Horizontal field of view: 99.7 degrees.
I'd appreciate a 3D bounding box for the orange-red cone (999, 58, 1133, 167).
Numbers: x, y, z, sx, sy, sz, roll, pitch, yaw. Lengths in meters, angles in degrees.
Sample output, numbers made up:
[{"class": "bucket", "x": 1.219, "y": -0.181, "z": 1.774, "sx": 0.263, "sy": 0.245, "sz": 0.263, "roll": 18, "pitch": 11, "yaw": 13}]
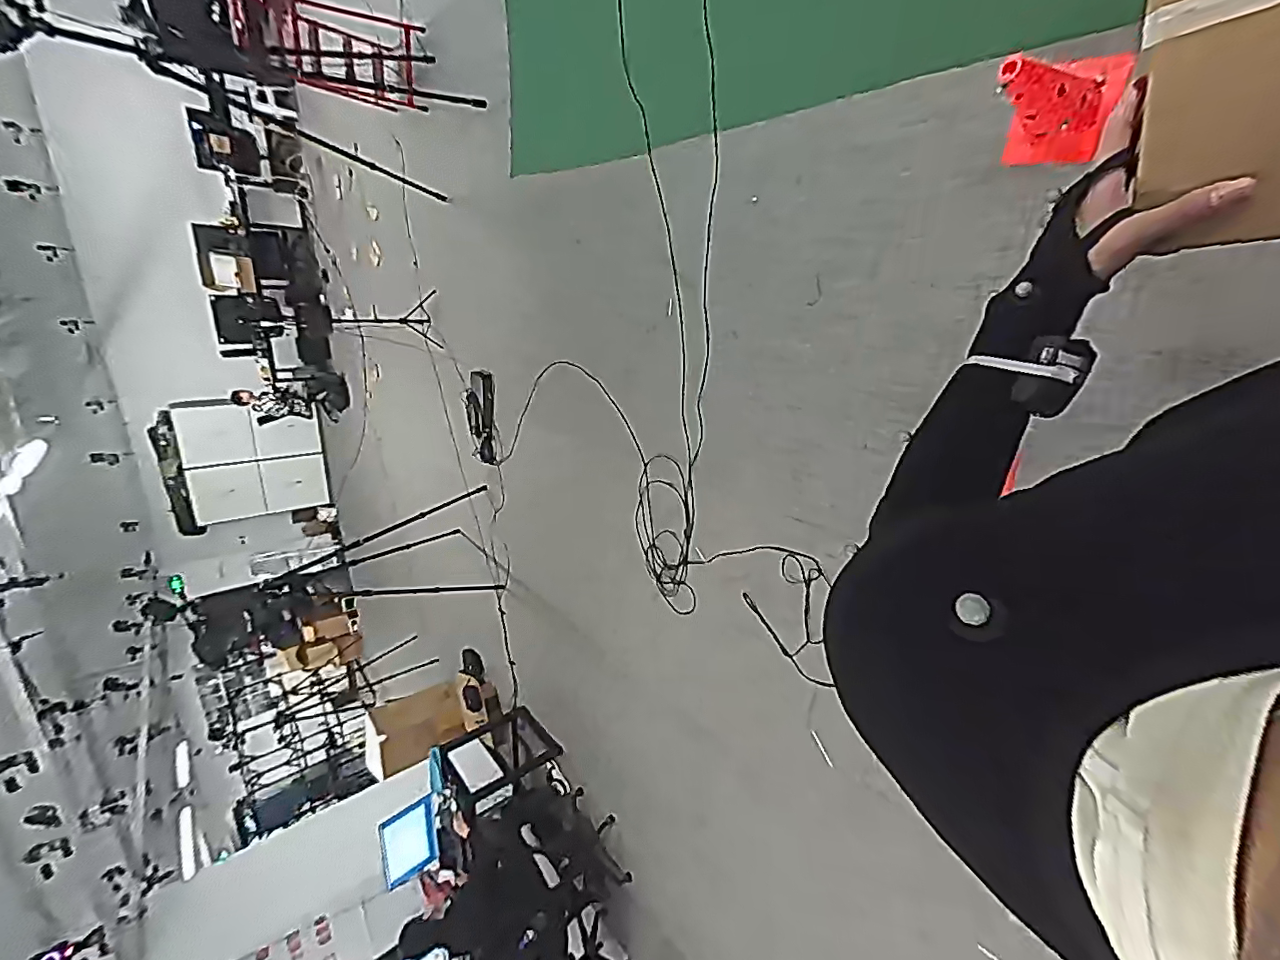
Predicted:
[{"class": "orange-red cone", "x": 0.831, "y": -0.800, "z": 1.127, "sx": 0.199, "sy": 0.360, "sz": 0.198, "roll": 33, "pitch": 124, "yaw": 43}]
